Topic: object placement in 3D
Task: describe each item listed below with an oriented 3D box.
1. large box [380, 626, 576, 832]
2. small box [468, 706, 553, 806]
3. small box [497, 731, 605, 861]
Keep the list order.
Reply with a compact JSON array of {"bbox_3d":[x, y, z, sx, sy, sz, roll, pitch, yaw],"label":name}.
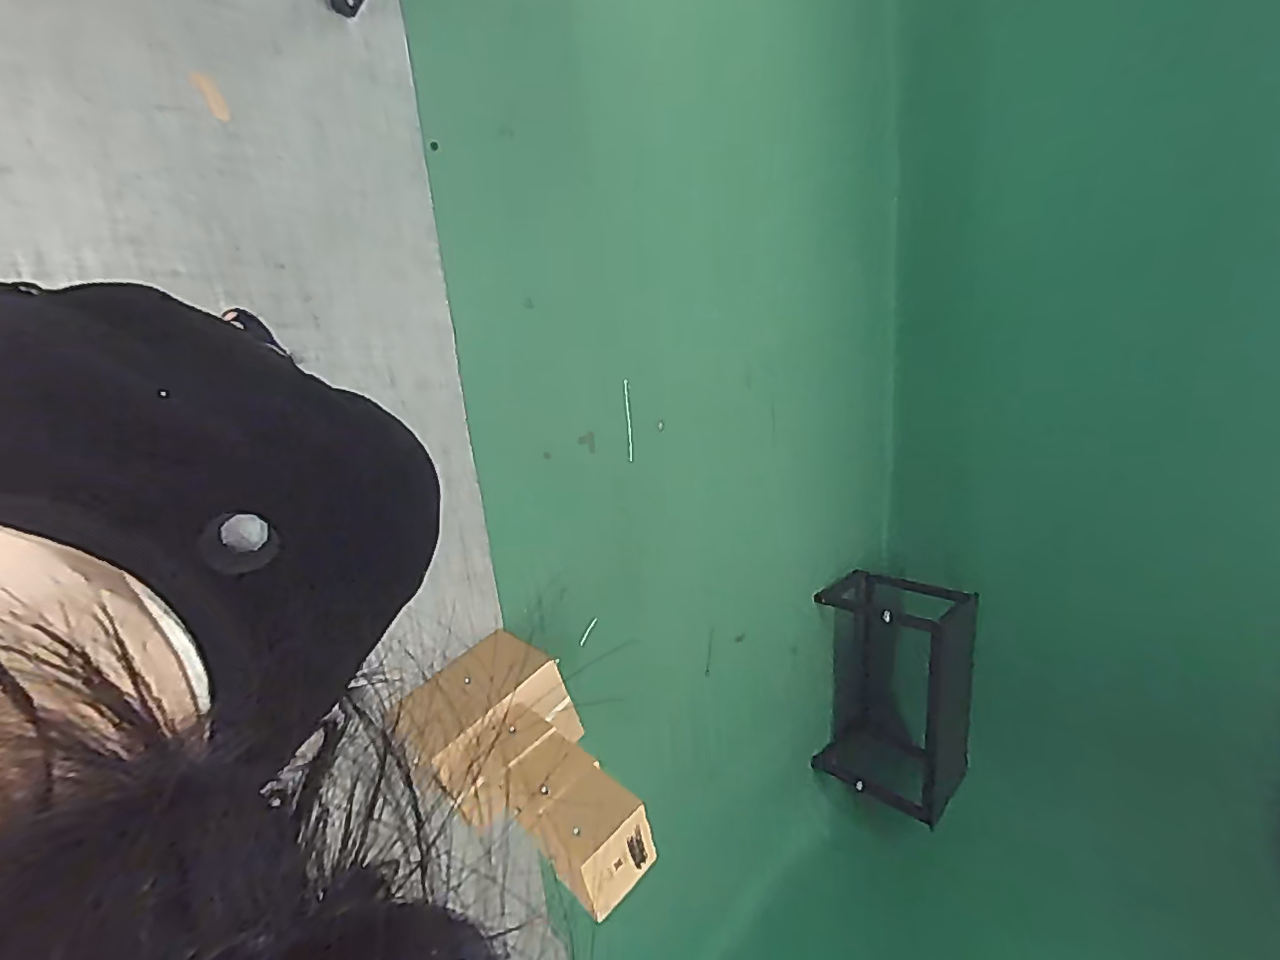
[{"bbox_3d":[-0.473,0.713,1.614,0.408,0.320,0.320,-35,120,-38],"label":"large box"},{"bbox_3d":[-0.325,0.721,1.414,0.168,0.176,0.179,-28,114,-39],"label":"small box"},{"bbox_3d":[-0.213,0.746,1.300,0.179,0.176,0.168,-26,113,-39],"label":"small box"}]
